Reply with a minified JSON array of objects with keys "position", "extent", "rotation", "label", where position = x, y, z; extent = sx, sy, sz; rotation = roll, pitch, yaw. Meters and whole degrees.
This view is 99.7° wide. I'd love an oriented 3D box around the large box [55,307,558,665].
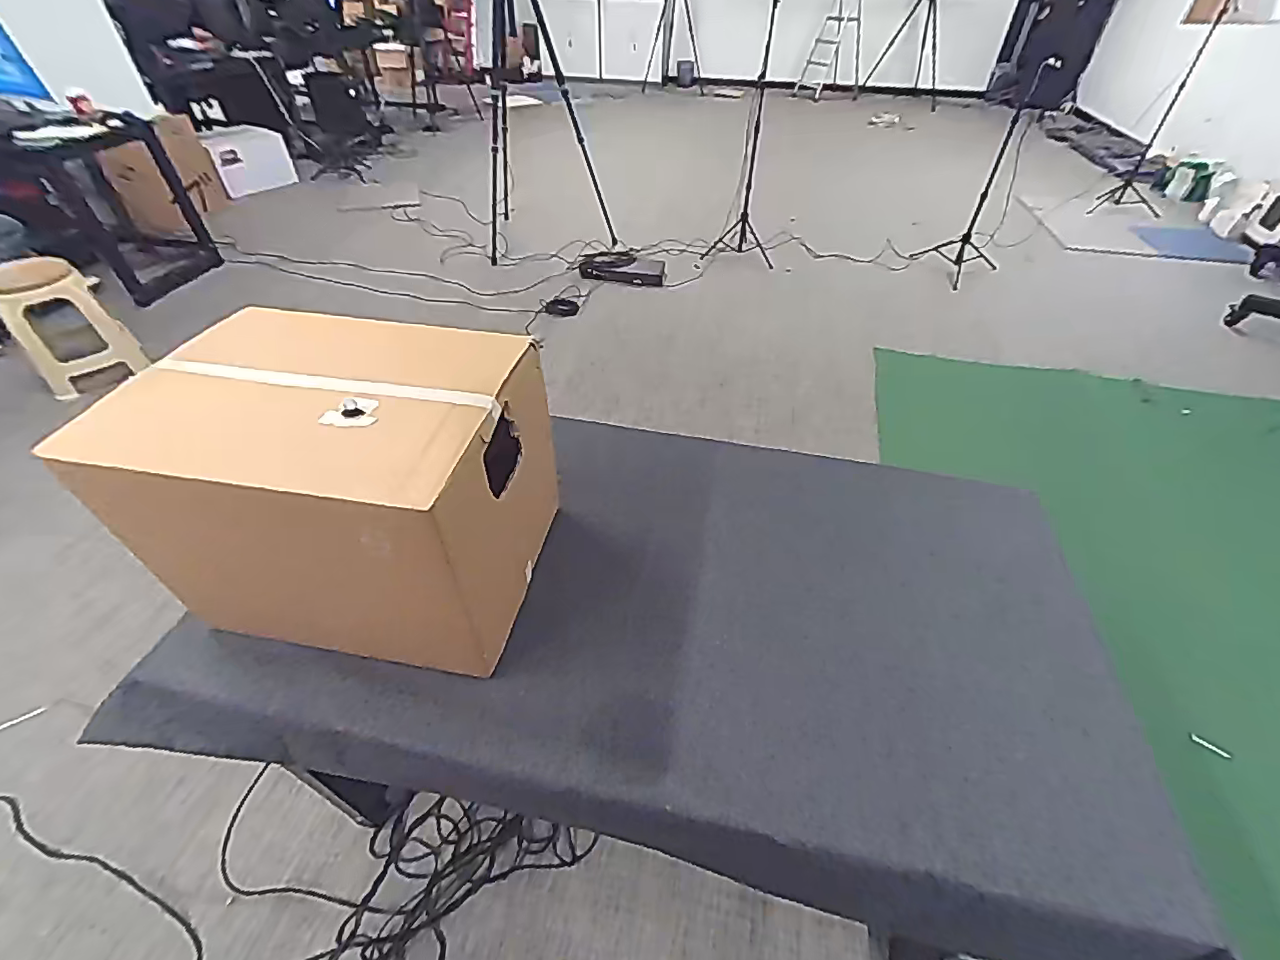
[{"position":[-0.347,0.003,0.705],"extent":[0.408,0.320,0.320],"rotation":[8,45,5],"label":"large box"}]
